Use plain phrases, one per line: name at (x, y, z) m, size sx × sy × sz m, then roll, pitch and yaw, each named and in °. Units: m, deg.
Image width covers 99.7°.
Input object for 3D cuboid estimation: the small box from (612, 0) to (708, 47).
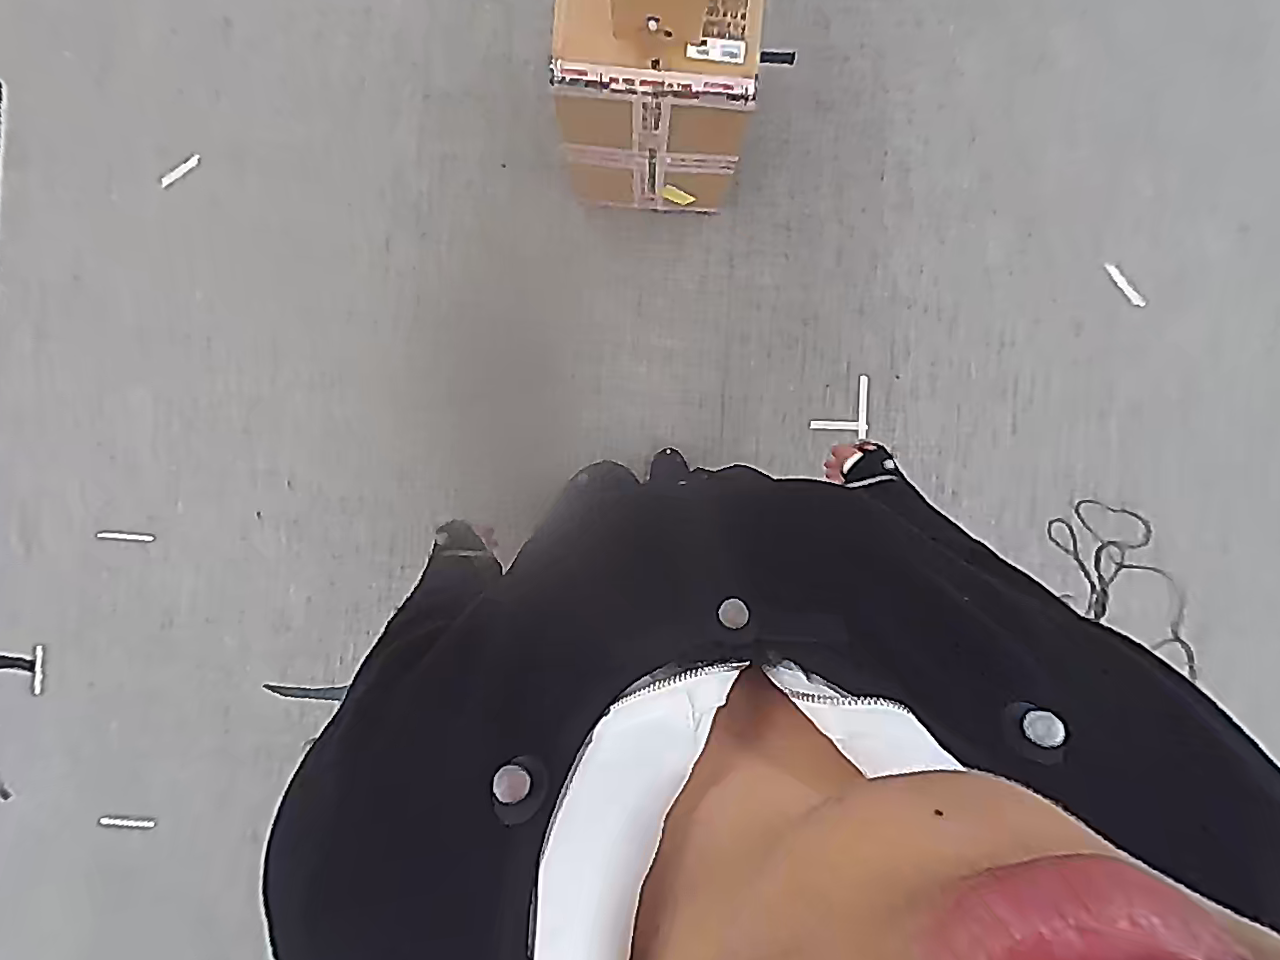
small box at (0.041, -0.891, 0.914) m, size 0.168 × 0.176 × 0.179 m, roll 6°, pitch 95°, yaw 0°
